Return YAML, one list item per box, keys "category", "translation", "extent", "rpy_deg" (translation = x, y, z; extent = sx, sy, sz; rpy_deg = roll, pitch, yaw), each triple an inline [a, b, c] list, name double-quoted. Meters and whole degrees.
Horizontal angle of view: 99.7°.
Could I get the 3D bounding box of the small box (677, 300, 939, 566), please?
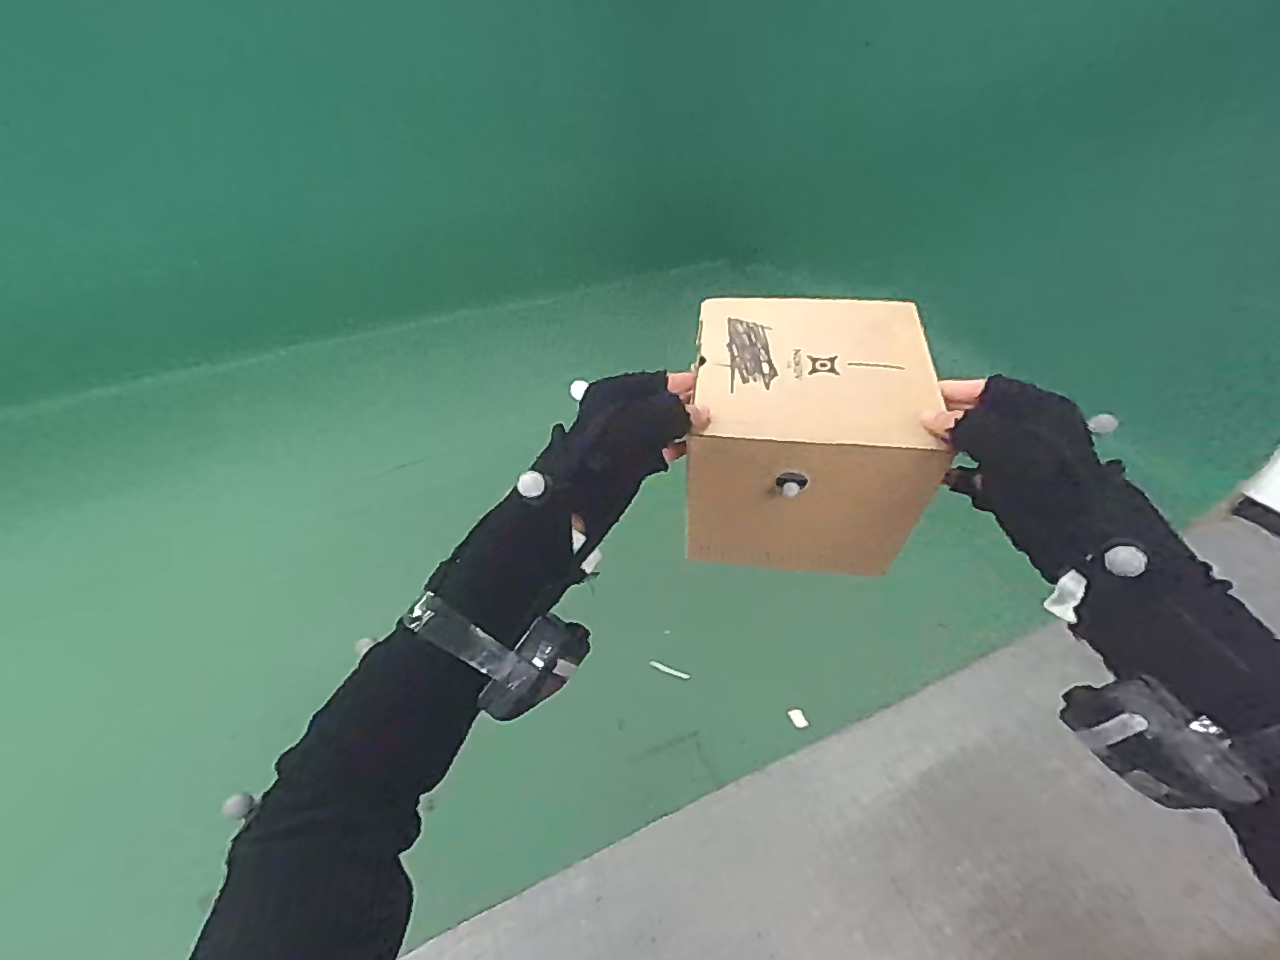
- category: "small box"
  translation: [0.127, -0.038, 0.475]
  extent: [0.179, 0.176, 0.168]
  rpy_deg: [4, 52, 7]
